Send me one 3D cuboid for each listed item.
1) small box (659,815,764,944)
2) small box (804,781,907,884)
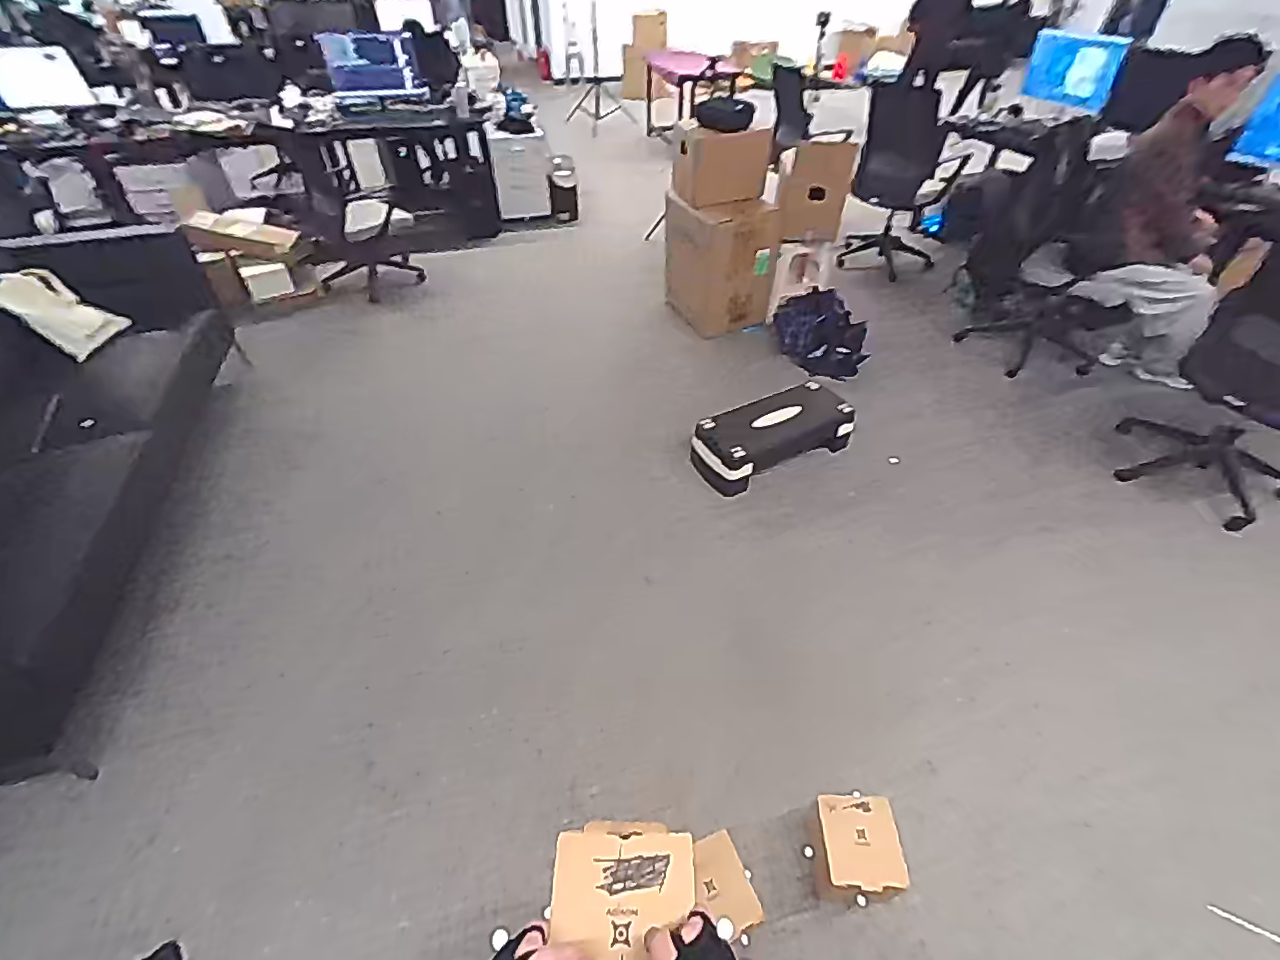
[{"bbox_3d":[0.151,0.889,1.198,0.168,0.176,0.179,-17,46,-17],"label":"small box"},{"bbox_3d":[0.489,0.820,1.255,0.168,0.176,0.179,0,46,3],"label":"small box"}]
